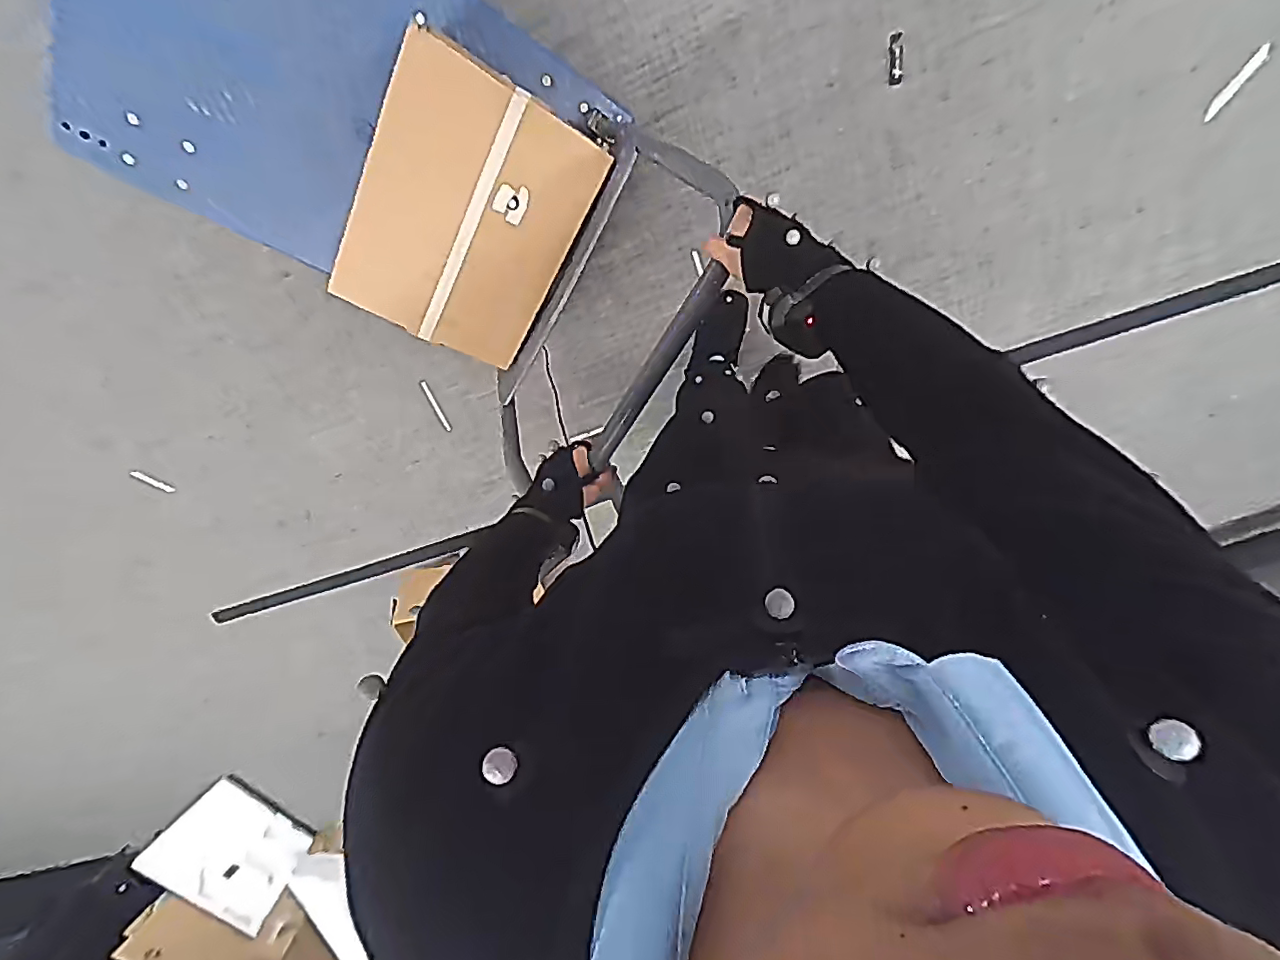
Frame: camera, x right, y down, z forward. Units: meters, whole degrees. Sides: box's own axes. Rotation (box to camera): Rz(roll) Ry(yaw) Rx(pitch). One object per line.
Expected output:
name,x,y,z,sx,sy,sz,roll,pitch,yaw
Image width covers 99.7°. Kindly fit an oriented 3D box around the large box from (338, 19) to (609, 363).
large box,-0.299,-0.496,0.981,0.320,0.320,0.408,20,118,-26
